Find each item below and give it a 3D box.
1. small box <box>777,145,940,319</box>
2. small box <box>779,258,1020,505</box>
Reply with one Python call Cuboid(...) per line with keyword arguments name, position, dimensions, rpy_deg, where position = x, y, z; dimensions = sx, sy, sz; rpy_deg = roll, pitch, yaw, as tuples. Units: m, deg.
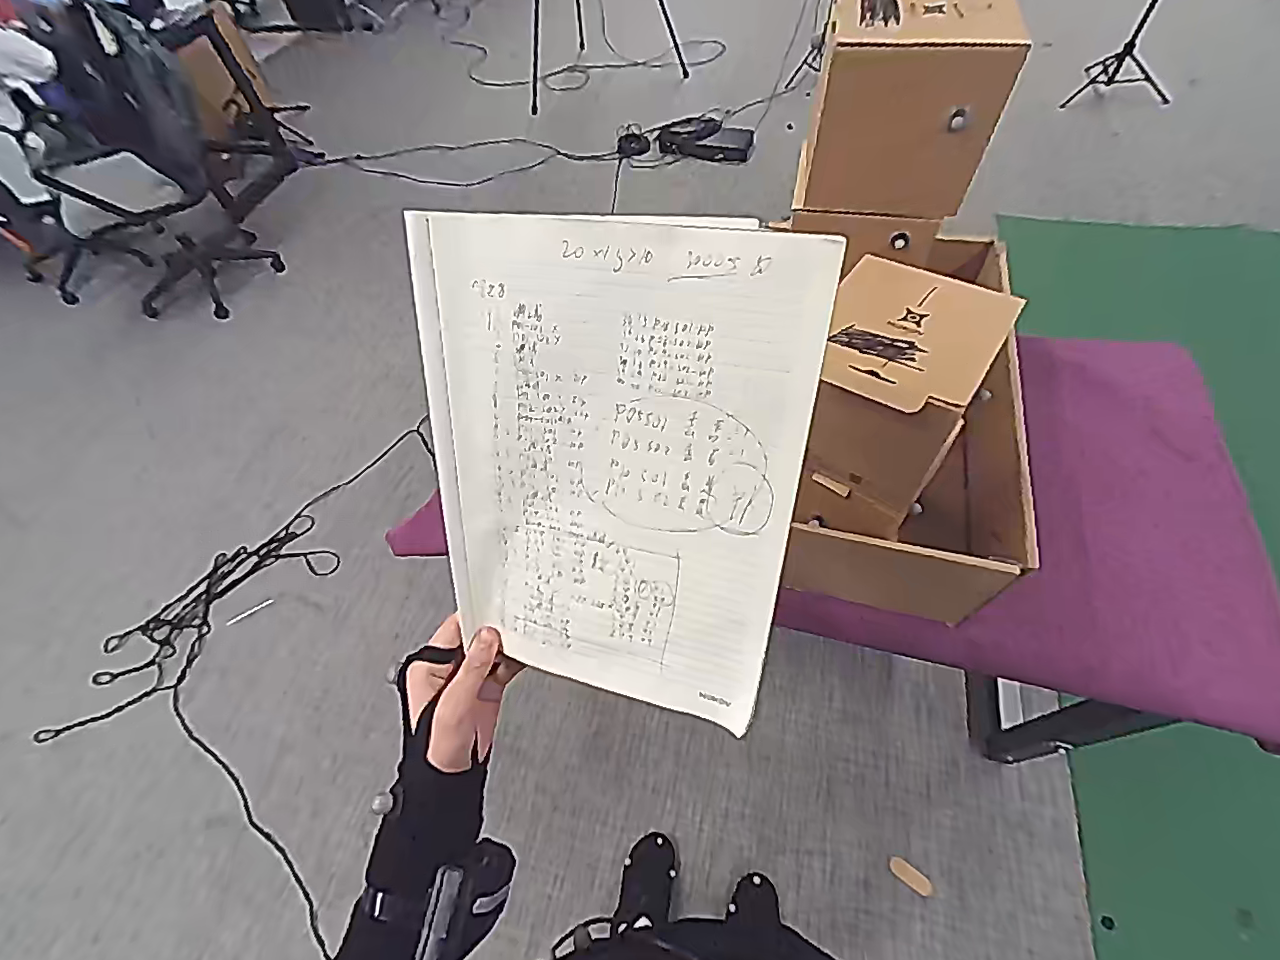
Cuboid(name="small box", position=(0.292, -0.335, 0.751), dimensions=(0.179, 0.176, 0.168), rpy_deg=(9, 59, 12))
Cuboid(name="small box", position=(0.266, -0.104, 0.591), dimensions=(0.168, 0.176, 0.179), rpy_deg=(29, 62, 25))
